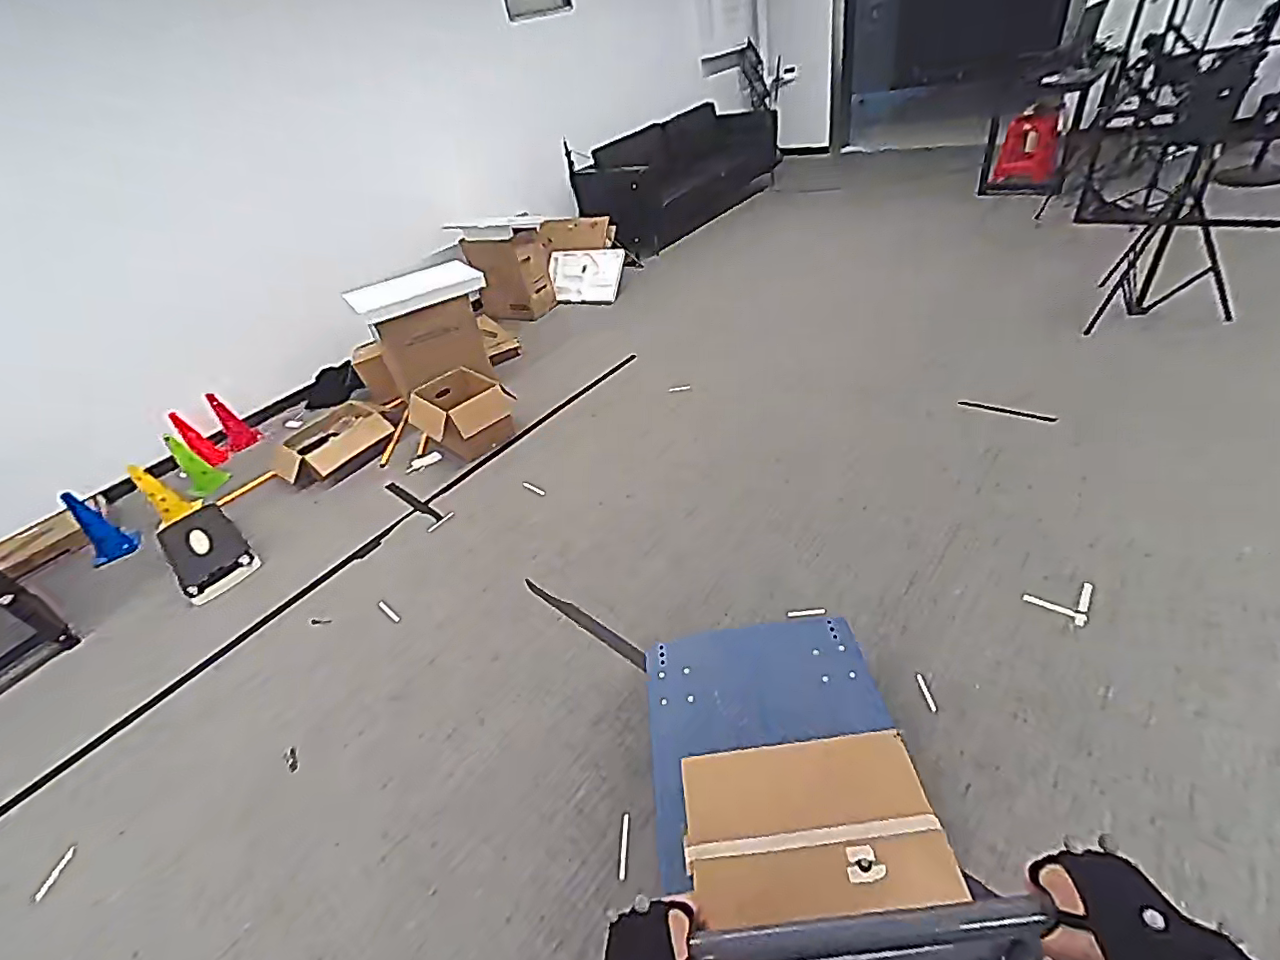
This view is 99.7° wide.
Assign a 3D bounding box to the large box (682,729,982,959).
[{"bbox_3d":[0.305,0.703,0.980,0.408,0.320,0.320,-9,38,3],"label":"large box"}]
